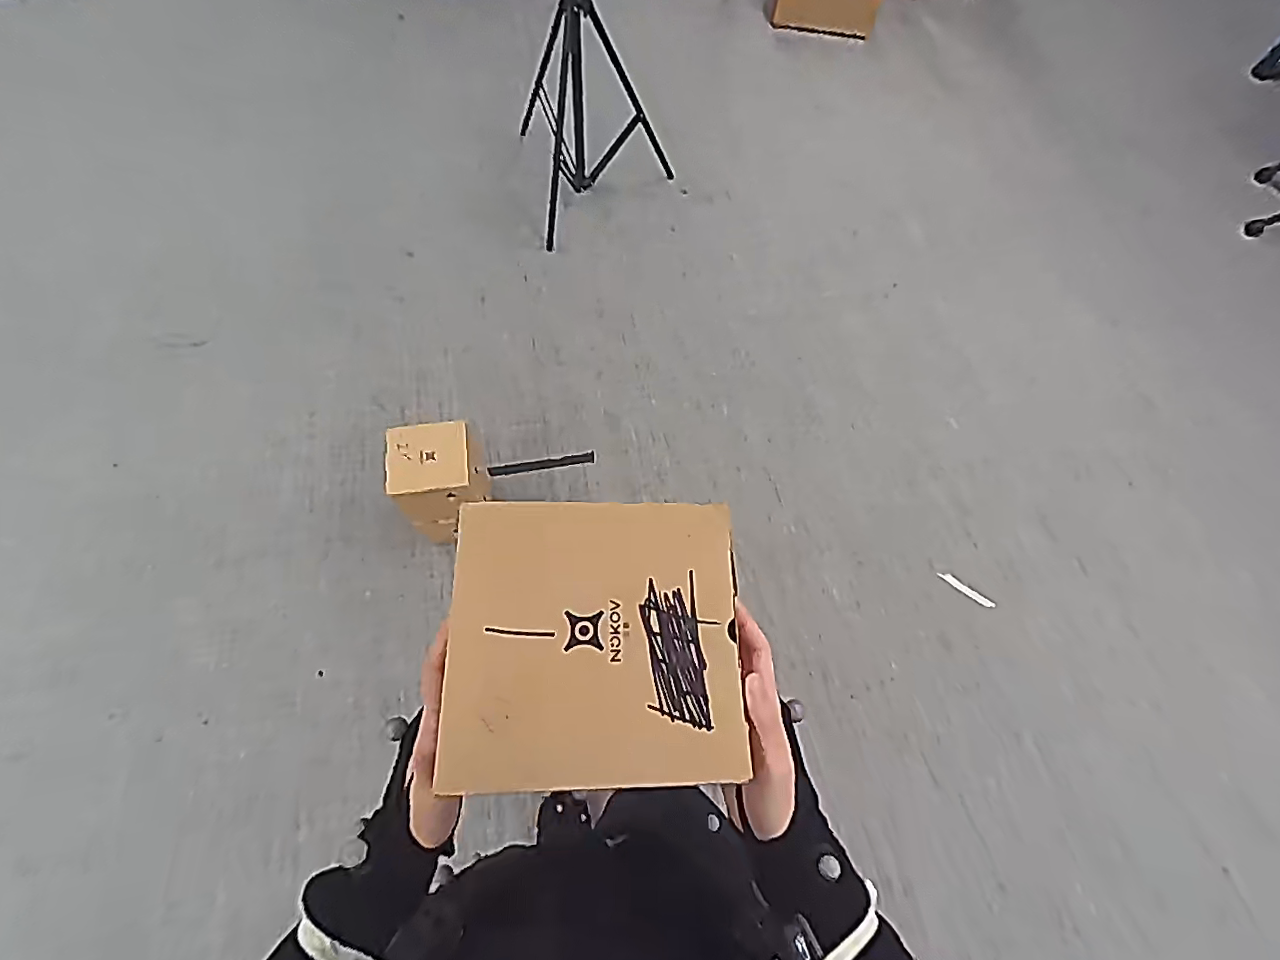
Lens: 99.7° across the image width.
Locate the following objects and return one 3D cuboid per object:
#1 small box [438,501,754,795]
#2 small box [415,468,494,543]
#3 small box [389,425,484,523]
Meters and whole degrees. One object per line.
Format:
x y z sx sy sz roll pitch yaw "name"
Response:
-0.032 0.120 0.396 0.179 0.176 0.168 1 68 -7 "small box"
-0.477 0.059 1.410 0.168 0.176 0.179 -7 68 -7 "small box"
-0.466 -0.010 1.259 0.179 0.176 0.168 -8 66 -7 "small box"
